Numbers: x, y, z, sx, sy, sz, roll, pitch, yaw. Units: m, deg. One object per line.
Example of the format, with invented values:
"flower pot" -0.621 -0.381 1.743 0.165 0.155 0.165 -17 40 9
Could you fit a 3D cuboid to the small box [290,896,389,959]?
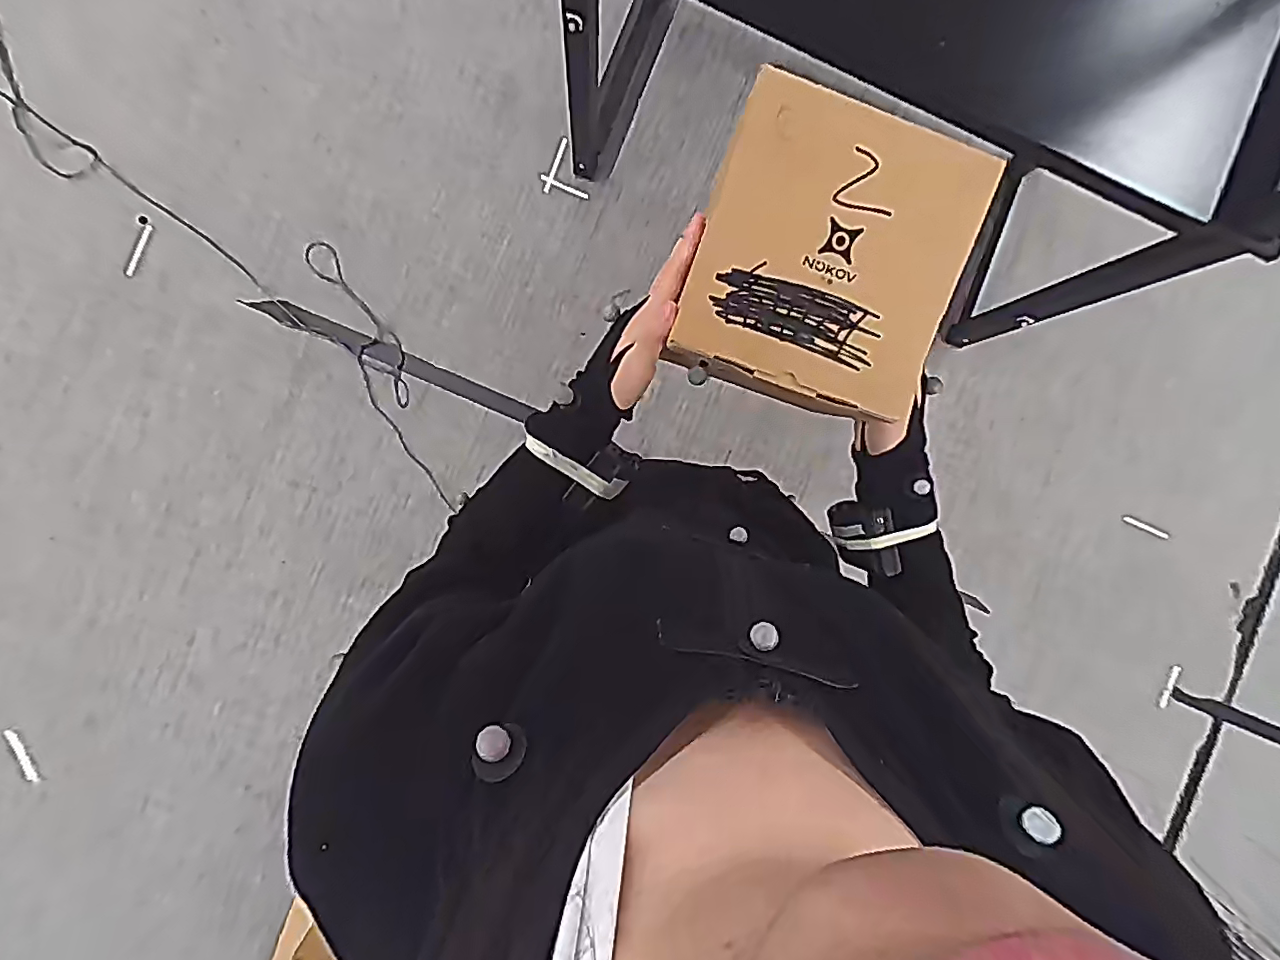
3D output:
"small box" -0.694 1.100 1.211 0.168 0.176 0.179 25 88 -5
